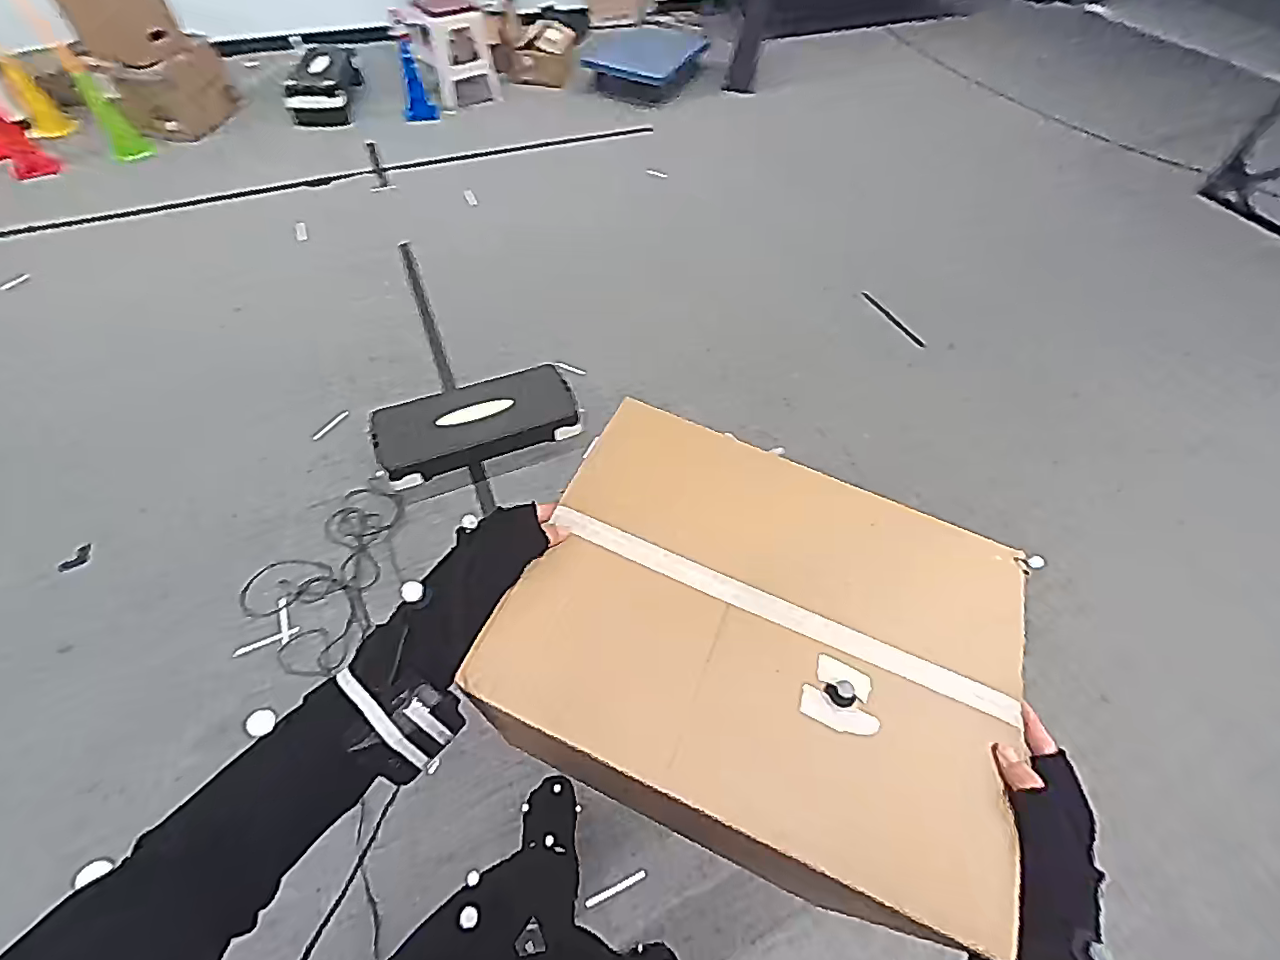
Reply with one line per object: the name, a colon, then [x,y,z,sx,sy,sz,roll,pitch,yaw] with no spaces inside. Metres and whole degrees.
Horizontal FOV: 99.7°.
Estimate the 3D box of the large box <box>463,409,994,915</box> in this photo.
large box: [0.085,0.188,0.587,0.408,0.320,0.320,22,57,8]
